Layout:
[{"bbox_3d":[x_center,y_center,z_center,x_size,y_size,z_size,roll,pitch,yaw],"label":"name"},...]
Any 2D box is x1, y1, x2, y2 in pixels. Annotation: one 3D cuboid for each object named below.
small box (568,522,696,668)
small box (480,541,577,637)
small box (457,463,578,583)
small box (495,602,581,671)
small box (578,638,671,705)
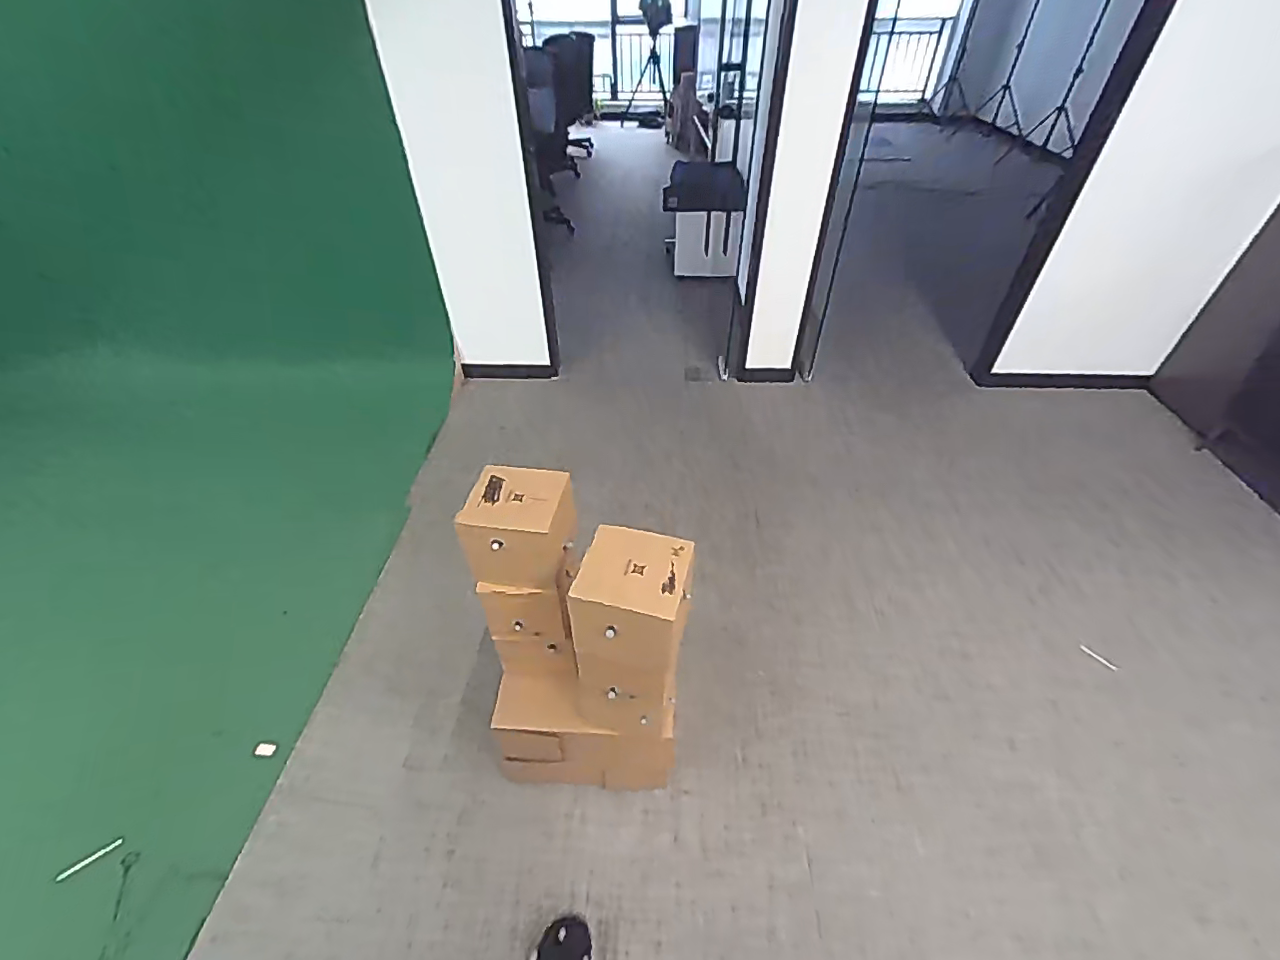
[{"bbox_3d":[-0.008,0.200,0.939,0.179,0.176,0.168,10,44,13],"label":"small box"},{"bbox_3d":[-0.230,0.215,1.171,0.168,0.176,0.179,2,42,3],"label":"small box"},{"bbox_3d":[-0.230,0.086,1.068,0.179,0.176,0.168,6,43,6],"label":"small box"},{"bbox_3d":[-0.226,0.336,1.280,0.179,0.176,0.168,1,41,2],"label":"small box"},{"bbox_3d":[-0.018,0.309,1.063,0.168,0.176,0.179,8,43,8],"label":"small box"}]
